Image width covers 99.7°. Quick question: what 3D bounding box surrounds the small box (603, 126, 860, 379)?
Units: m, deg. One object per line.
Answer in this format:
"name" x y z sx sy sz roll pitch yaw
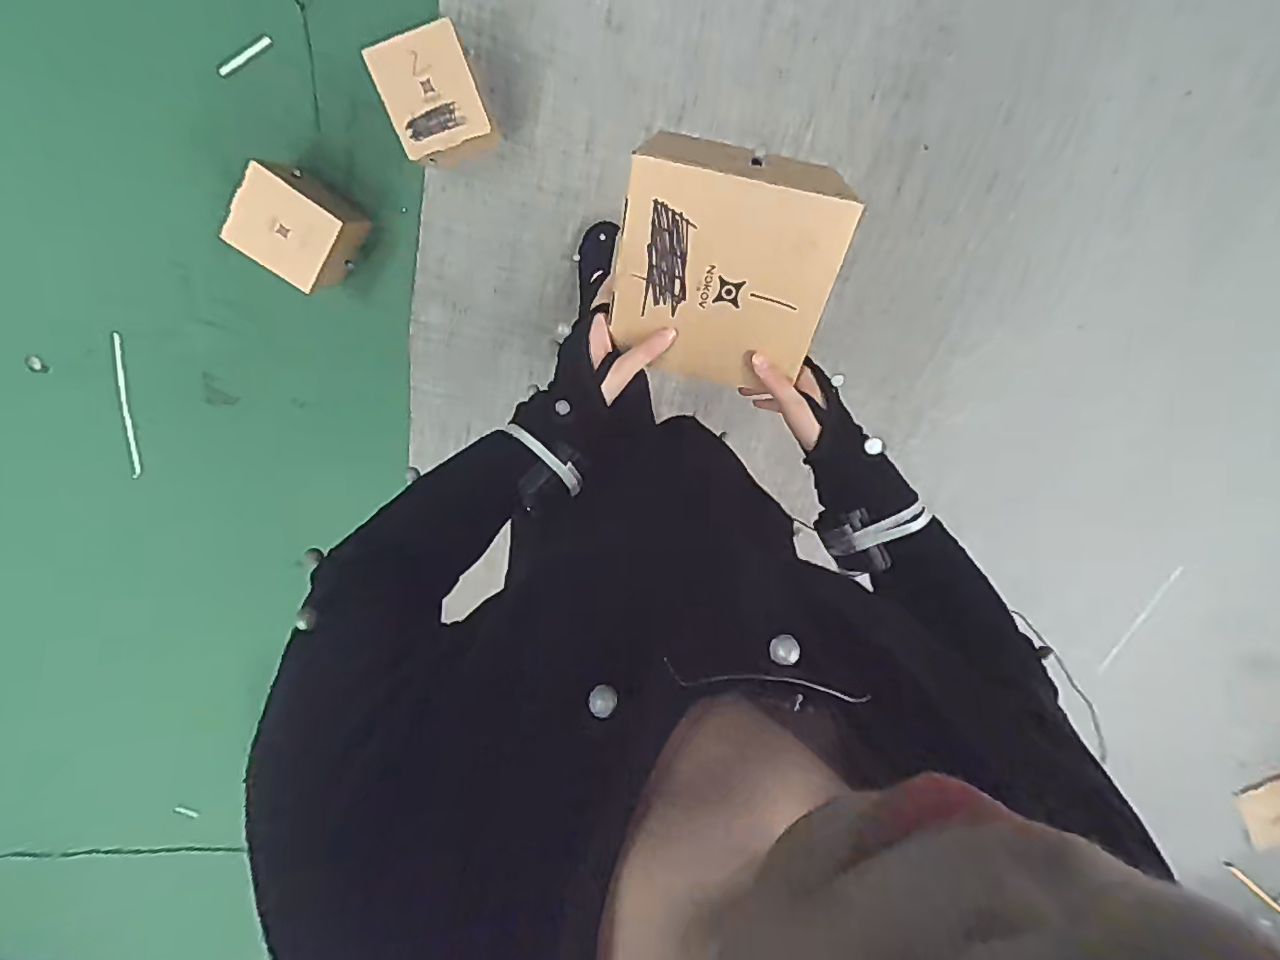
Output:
"small box" 0.075 -0.220 0.507 0.179 0.176 0.168 12 127 0

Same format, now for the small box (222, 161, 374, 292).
"small box" -0.688 -0.512 1.106 0.179 0.176 0.168 34 109 -19
